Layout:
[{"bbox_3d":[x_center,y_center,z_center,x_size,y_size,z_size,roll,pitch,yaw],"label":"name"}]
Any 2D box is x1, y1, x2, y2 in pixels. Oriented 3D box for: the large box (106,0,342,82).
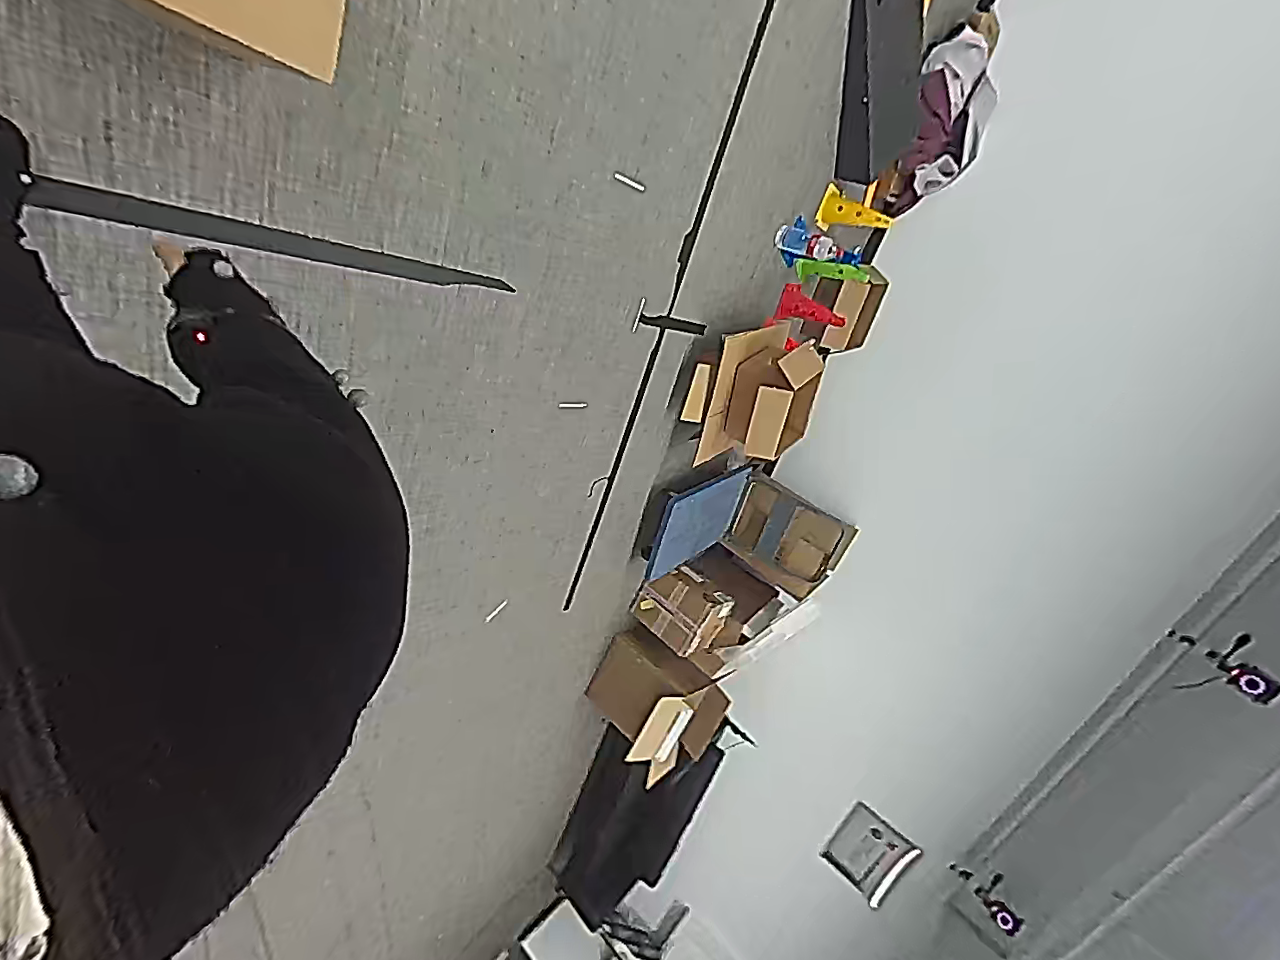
[{"bbox_3d":[-0.663,-0.805,0.709,0.408,0.320,0.320,-9,126,-54],"label":"large box"}]
